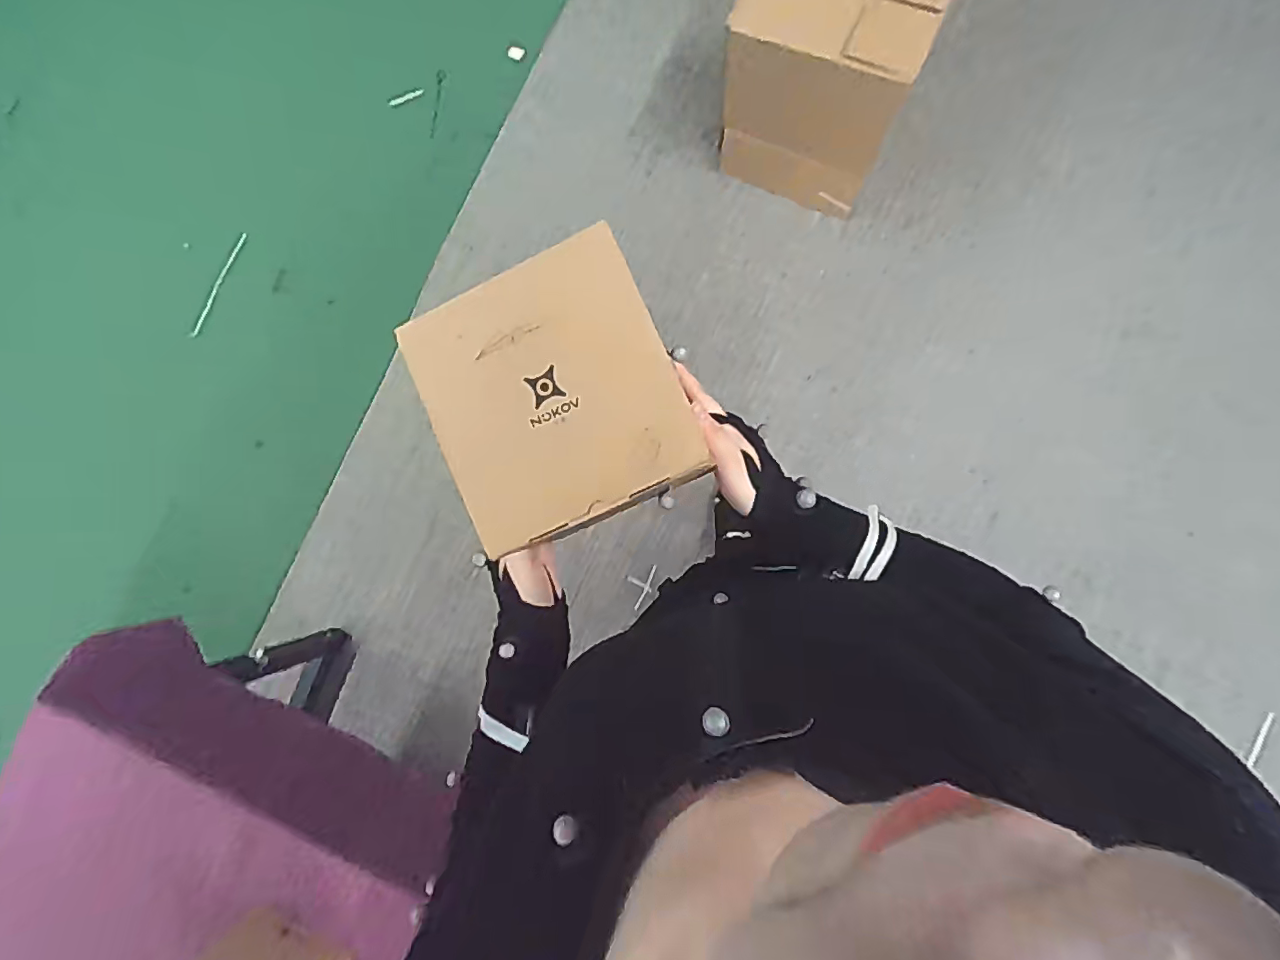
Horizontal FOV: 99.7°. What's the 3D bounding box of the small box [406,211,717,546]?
[{"bbox_3d":[-0.043,-0.065,0.433,0.168,0.176,0.179,-23,86,7],"label":"small box"}]
